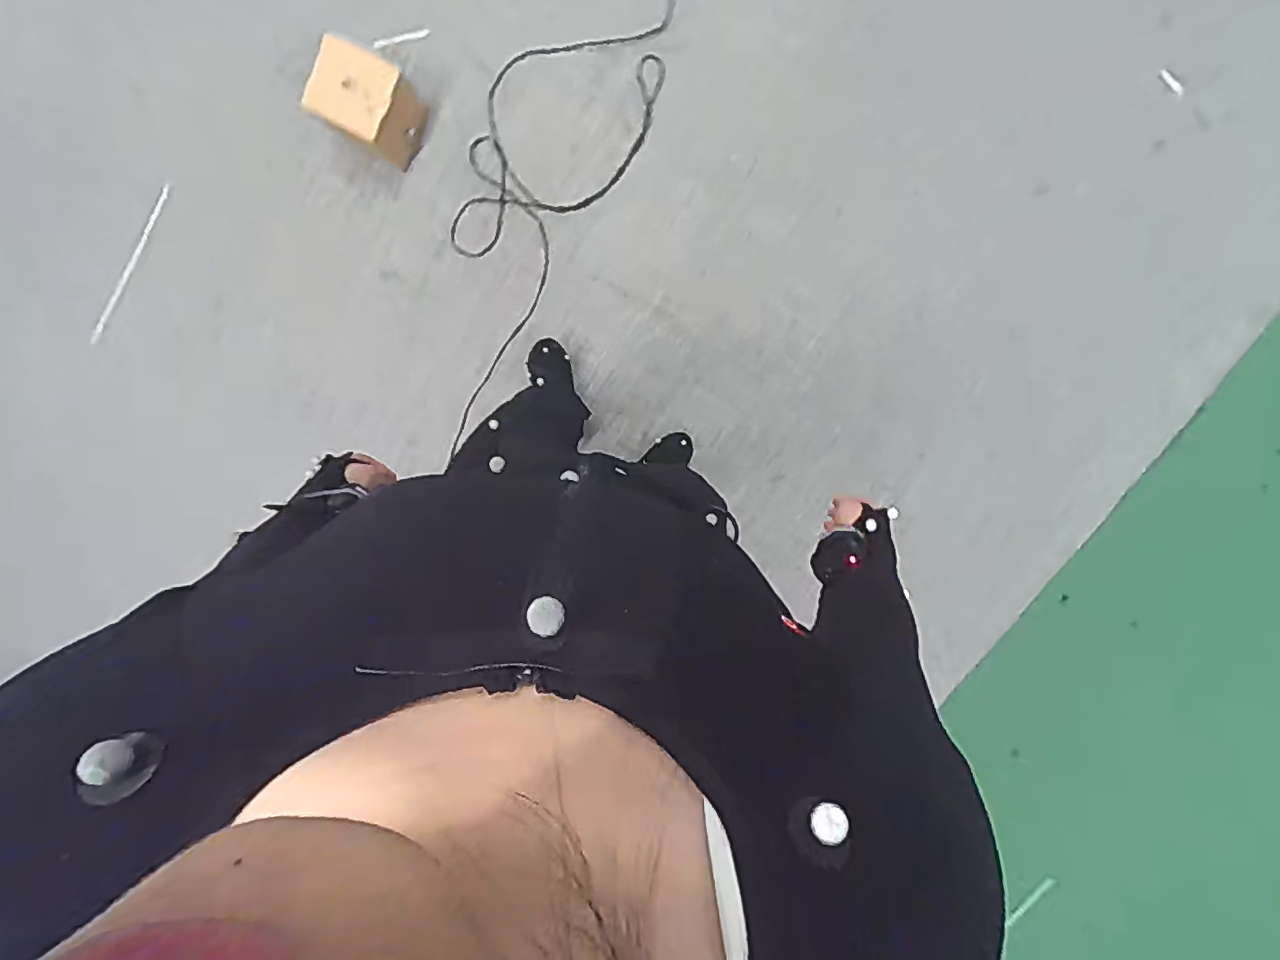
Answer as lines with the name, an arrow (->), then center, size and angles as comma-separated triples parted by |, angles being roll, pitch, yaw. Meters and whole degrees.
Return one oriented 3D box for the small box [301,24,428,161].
small box -> -0.627, -0.879, 1.249 | 0.179, 0.176, 0.168 | 26, 99, -5
